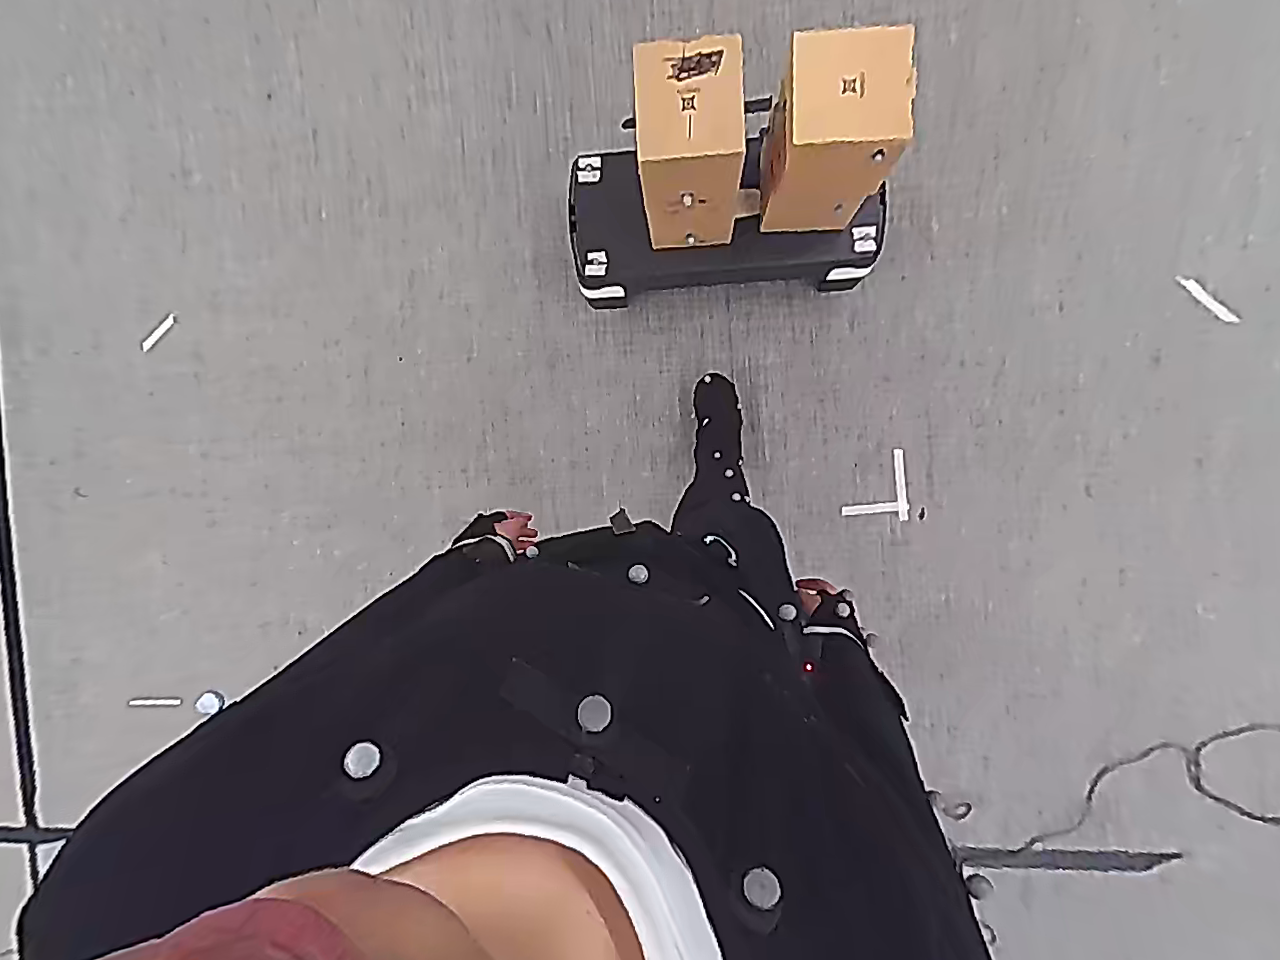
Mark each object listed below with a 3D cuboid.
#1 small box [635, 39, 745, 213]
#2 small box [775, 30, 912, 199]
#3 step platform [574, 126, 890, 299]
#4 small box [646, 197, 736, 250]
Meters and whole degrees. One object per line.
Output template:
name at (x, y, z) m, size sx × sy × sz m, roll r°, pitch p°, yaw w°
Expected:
small box at (0.081, -0.572, 0.895) m, size 0.168 × 0.176 × 0.179 m, roll -2°, pitch 92°, yaw 5°
small box at (0.318, -0.577, 0.876) m, size 0.179 × 0.176 × 0.168 m, roll 0°, pitch 92°, yaw 4°
step platform at (0.193, -0.601, 1.223) m, size 0.684 × 0.204 × 0.286 m, roll -3°, pitch 91°, yaw 6°
small box at (0.097, -0.574, 1.058) m, size 0.168 × 0.176 × 0.179 m, roll -1°, pitch 92°, yaw 5°
